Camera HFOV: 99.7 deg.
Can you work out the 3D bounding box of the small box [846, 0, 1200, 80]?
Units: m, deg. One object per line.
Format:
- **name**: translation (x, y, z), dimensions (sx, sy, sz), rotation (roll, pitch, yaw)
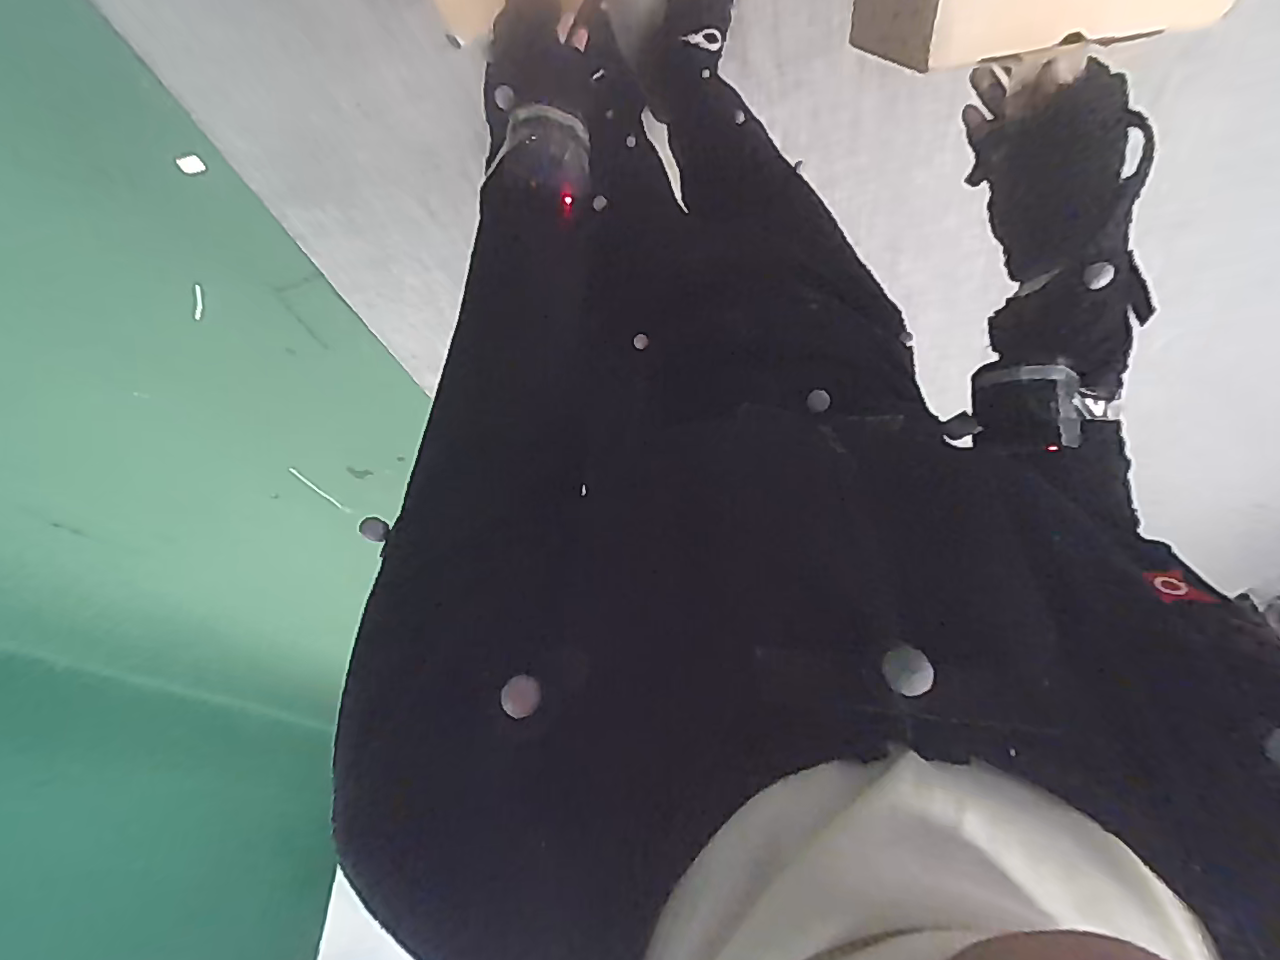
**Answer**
- **small box**: translation (0.233, -0.375, 0.327), dimensions (0.168, 0.176, 0.179), rotation (-6, 134, 7)
